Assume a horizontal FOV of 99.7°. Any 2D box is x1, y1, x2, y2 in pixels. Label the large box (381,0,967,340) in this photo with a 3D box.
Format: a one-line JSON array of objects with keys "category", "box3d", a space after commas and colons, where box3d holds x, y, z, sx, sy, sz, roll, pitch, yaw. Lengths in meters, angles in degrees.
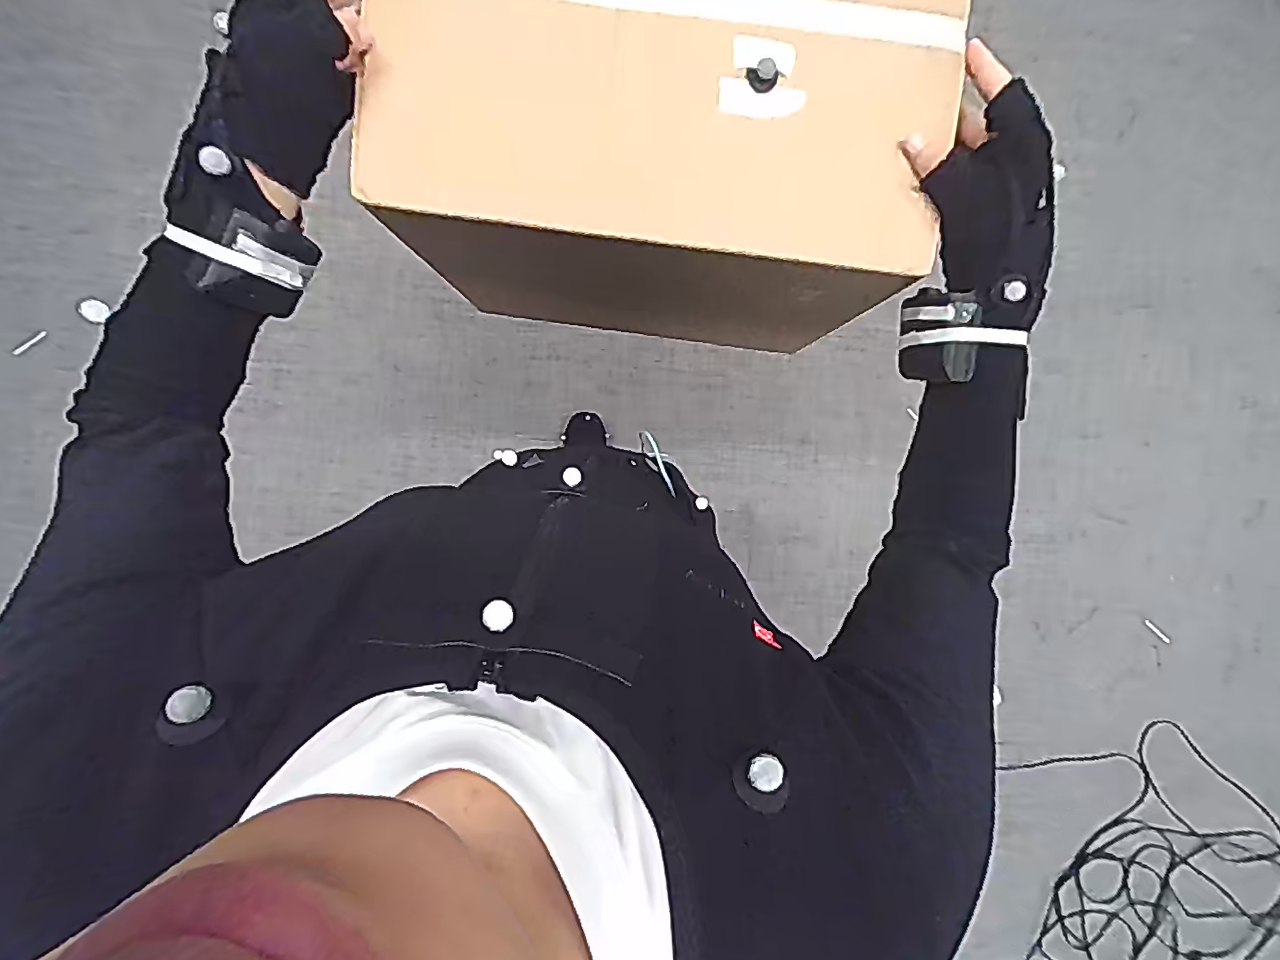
[{"category": "large box", "box3d": [0.023, -0.338, 0.524, 0.408, 0.320, 0.320, 6, 94, -3]}]
